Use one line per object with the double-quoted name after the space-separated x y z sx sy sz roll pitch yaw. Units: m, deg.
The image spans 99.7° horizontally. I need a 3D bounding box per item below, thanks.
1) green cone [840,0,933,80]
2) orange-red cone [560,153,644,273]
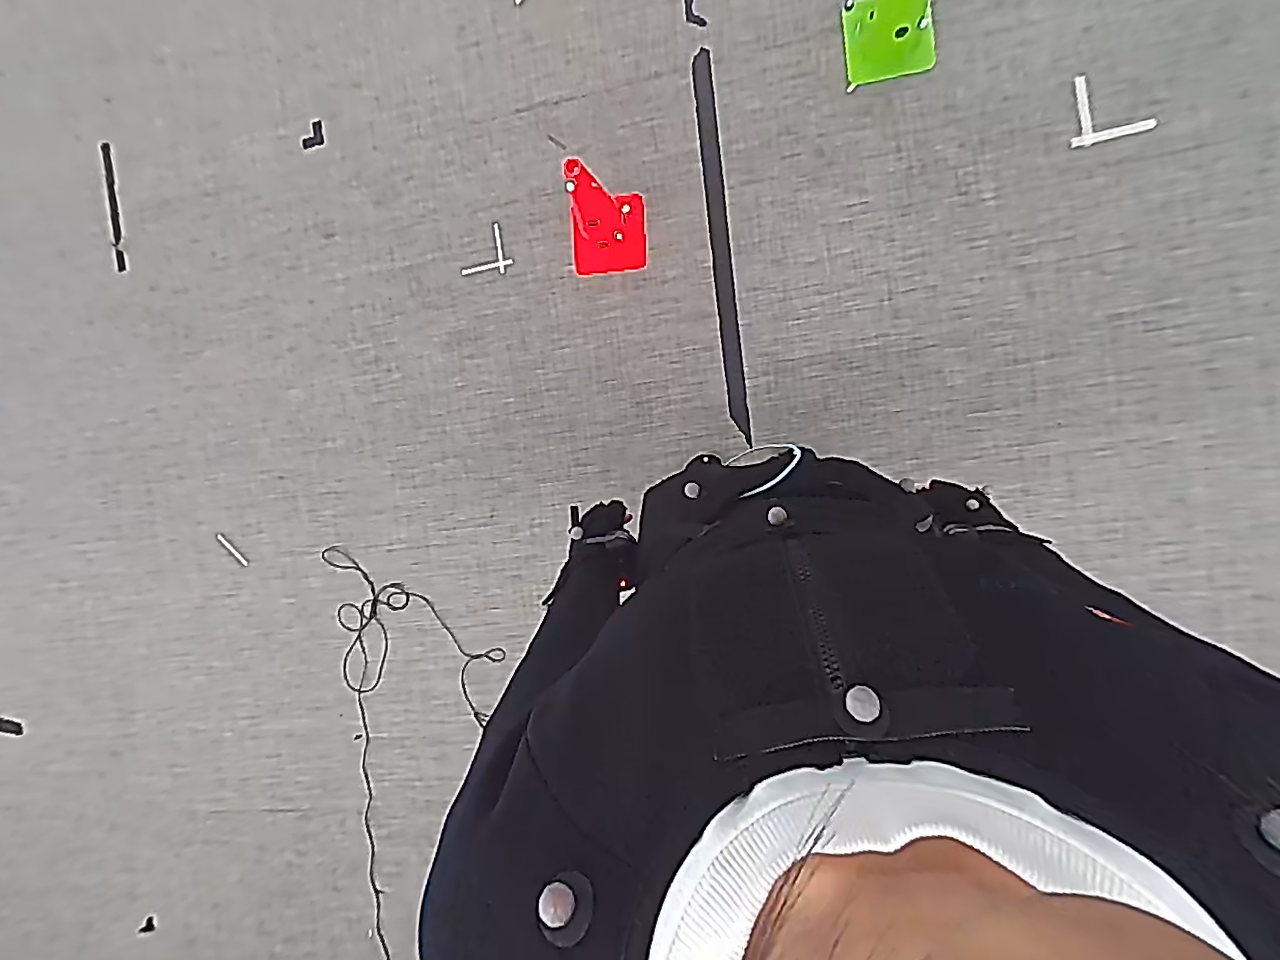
0.568 -1.067 1.131 0.202 0.368 0.200 -6 92 8 "green cone"
-0.117 -0.650 1.268 0.199 0.360 0.198 -2 91 11 "orange-red cone"
